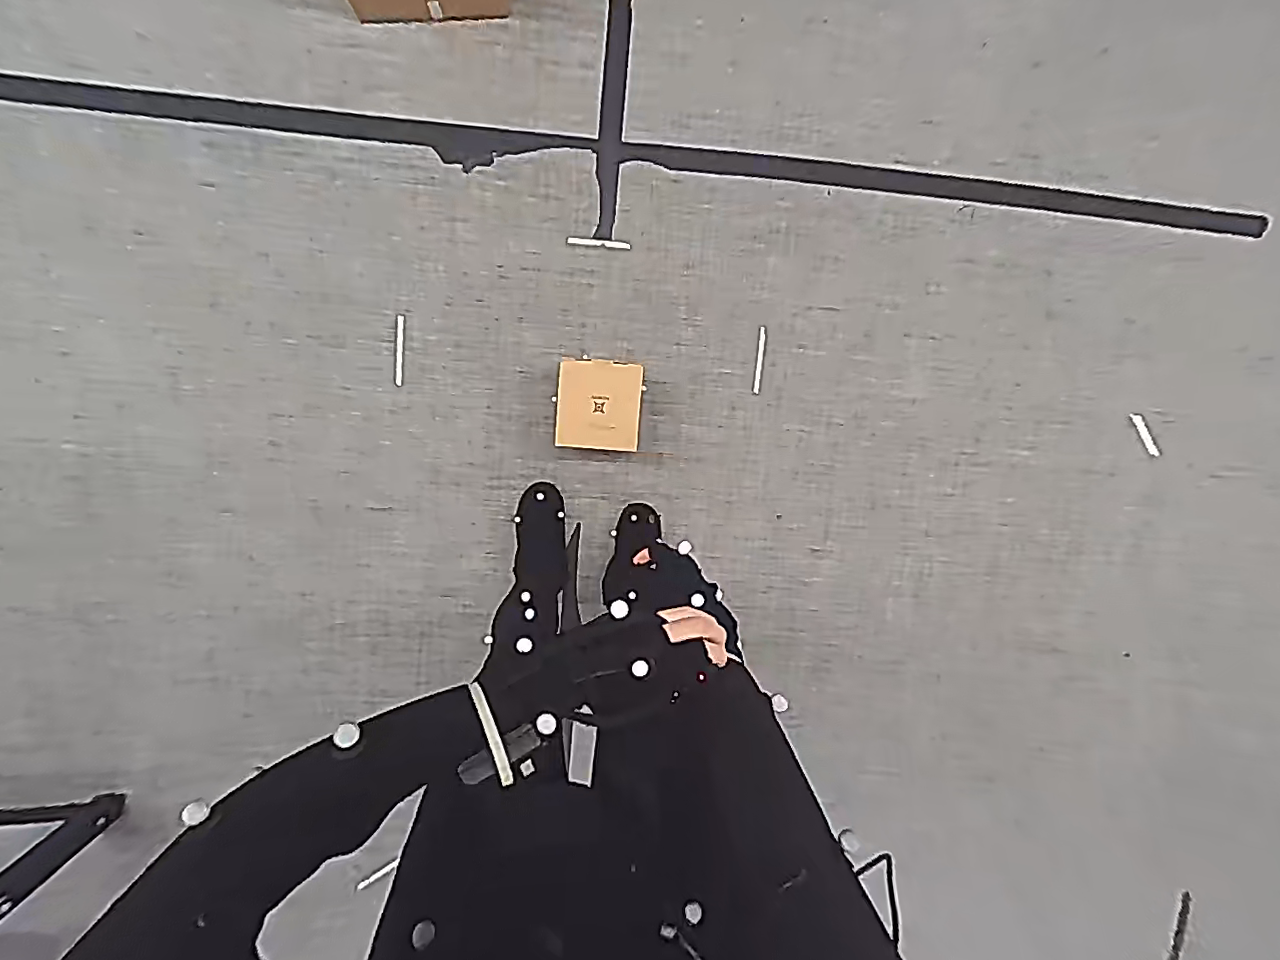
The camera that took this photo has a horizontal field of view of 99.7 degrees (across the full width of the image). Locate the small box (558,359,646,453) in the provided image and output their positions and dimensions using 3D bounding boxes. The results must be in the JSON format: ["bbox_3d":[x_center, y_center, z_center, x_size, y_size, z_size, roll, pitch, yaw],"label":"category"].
[{"bbox_3d":[-0.082,-0.155,1.153,0.168,0.176,0.179,4,98,-4],"label":"small box"}]
